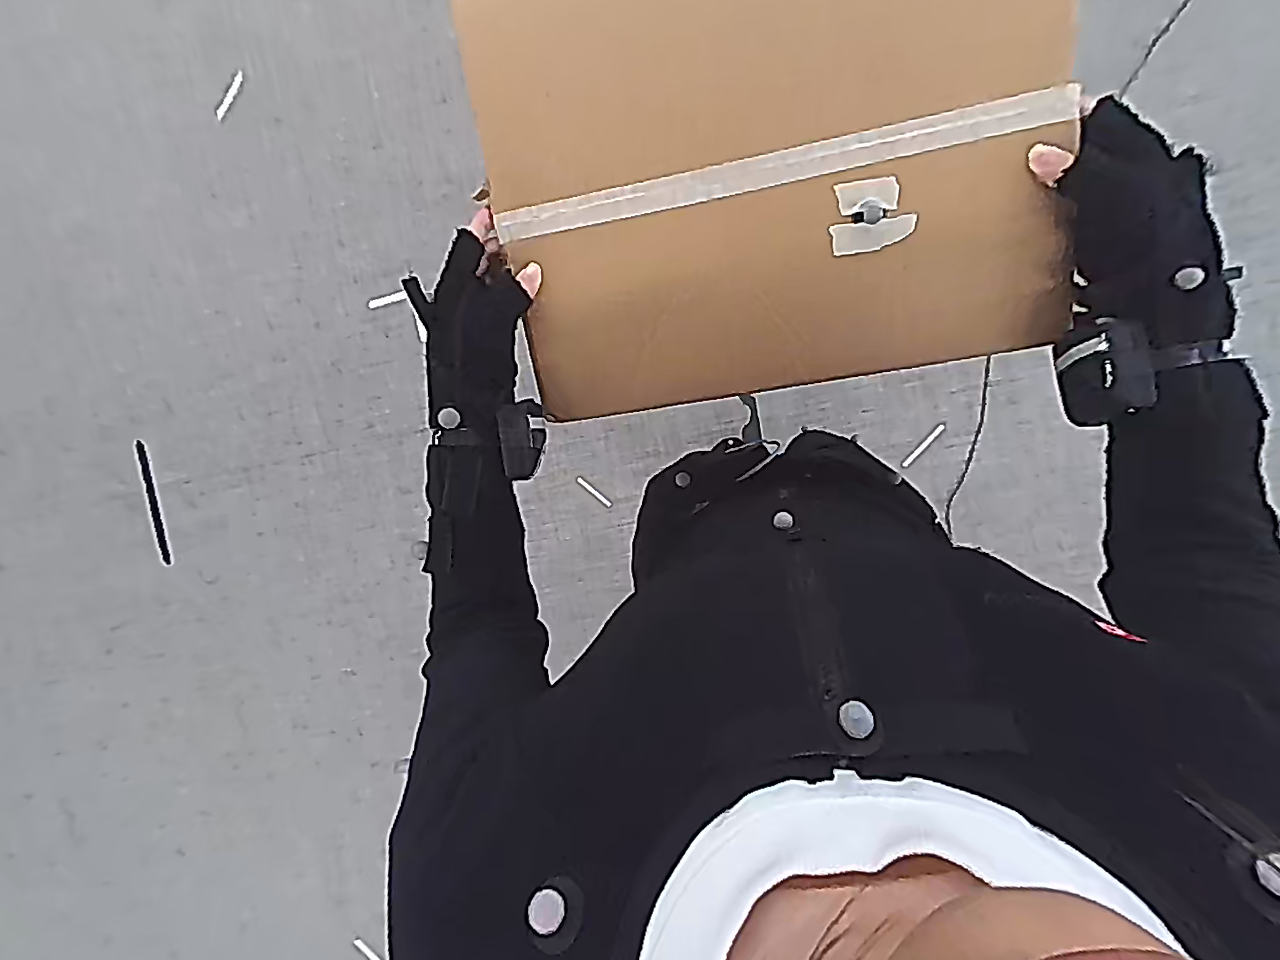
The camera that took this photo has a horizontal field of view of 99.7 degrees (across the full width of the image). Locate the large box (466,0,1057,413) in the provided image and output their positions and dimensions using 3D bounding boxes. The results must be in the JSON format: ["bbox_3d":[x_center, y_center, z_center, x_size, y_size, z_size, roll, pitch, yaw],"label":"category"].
[{"bbox_3d":[0.104,-0.274,0.545,0.408,0.320,0.320,-8,106,8],"label":"large box"}]
